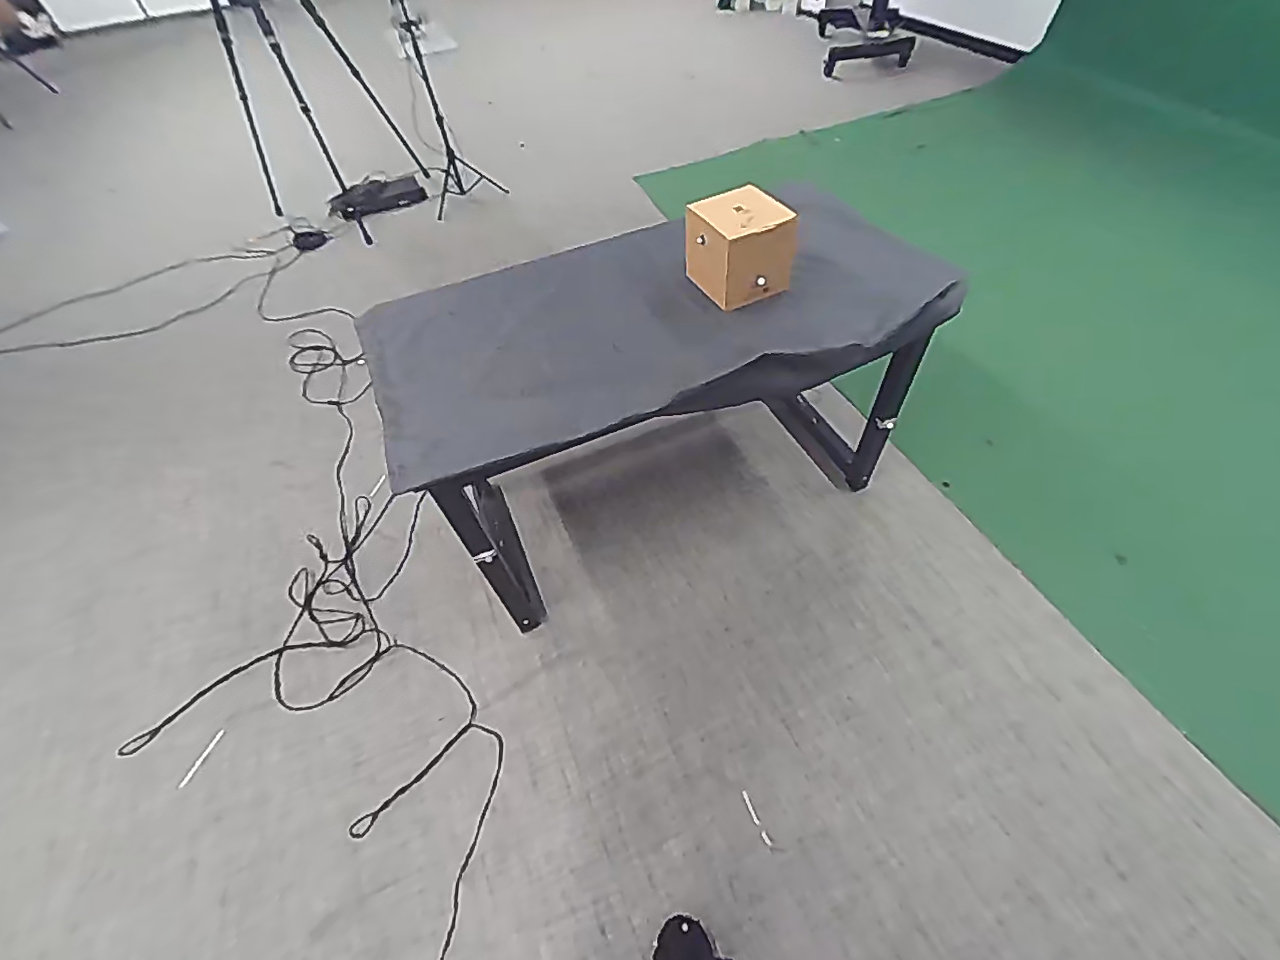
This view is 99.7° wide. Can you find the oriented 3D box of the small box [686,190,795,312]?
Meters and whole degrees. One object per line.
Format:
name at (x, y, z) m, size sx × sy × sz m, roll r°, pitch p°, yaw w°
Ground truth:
small box at (0.210, -0.501, 1.189) m, size 0.168 × 0.176 × 0.179 m, roll -24°, pitch 54°, yaw -13°
